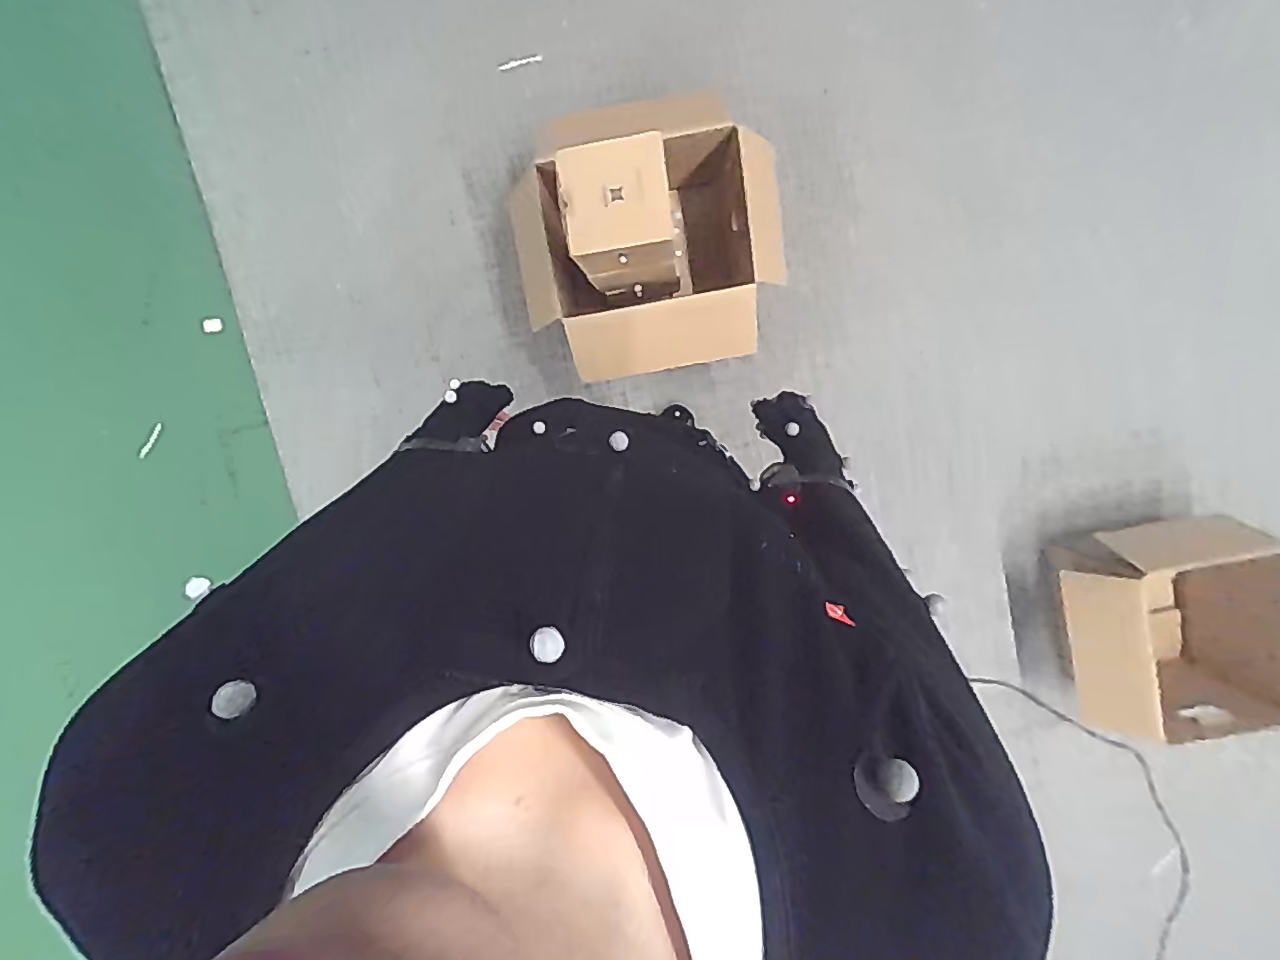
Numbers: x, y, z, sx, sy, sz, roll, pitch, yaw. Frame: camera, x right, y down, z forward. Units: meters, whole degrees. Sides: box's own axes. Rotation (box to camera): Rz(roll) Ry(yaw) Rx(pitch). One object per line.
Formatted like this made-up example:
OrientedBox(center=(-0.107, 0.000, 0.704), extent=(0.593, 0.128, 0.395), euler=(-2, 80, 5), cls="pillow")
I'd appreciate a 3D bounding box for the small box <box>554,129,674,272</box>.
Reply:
OrientedBox(center=(-0.037, -0.479, 0.955), extent=(0.179, 0.176, 0.168), euler=(-9, 100, 5), cls="small box")
